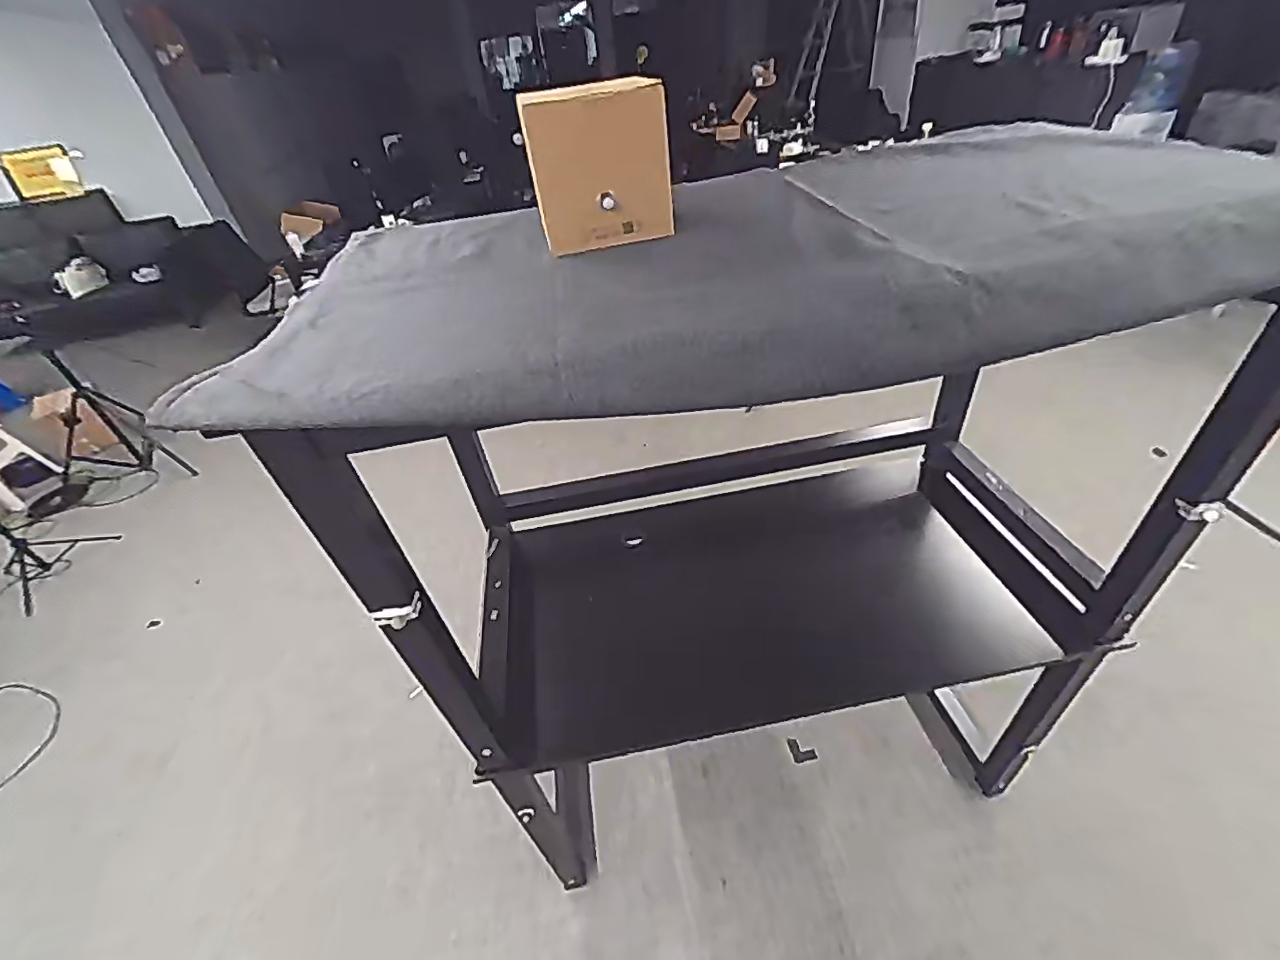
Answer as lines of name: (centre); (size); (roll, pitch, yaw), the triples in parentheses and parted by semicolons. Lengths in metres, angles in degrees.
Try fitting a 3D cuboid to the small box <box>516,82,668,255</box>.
small box: (-0.065, -0.418, 0.726); (0.168, 0.176, 0.179); (-13, 40, -5)
